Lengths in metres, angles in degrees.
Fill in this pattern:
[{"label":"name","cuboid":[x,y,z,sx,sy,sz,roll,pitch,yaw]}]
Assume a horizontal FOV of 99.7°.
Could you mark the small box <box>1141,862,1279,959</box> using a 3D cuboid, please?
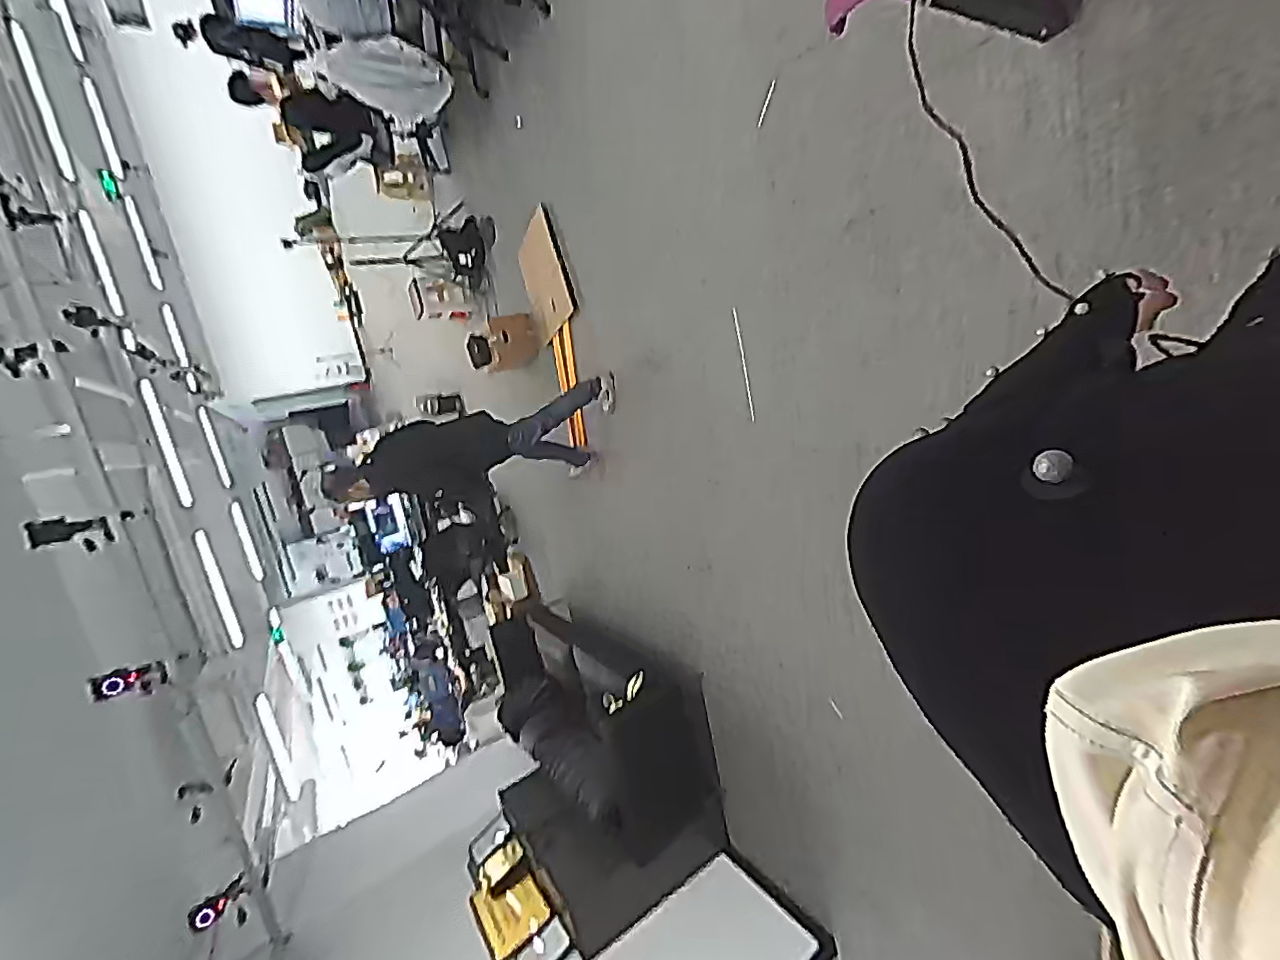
[{"label":"small box","cuboid":[1.070,0.875,1.009,0.168,0.176,0.179,5,111,57]}]
